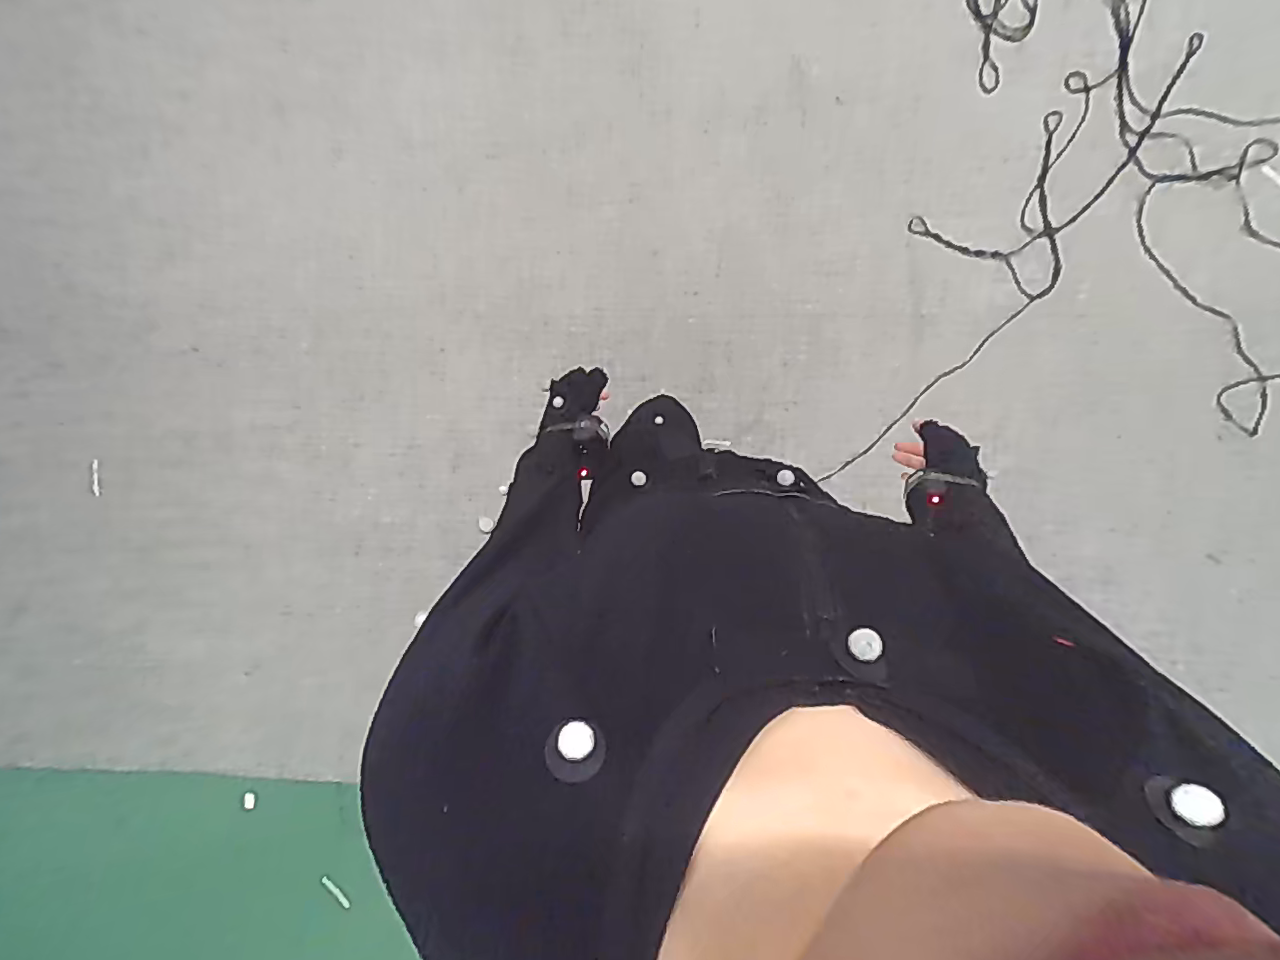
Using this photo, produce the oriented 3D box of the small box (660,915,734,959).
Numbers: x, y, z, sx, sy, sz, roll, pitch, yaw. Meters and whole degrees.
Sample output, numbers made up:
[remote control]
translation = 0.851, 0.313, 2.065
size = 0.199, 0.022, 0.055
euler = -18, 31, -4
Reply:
[small box]
translation = 0.132, 1.178, 1.268
size = 0.168, 0.176, 0.179
euler = 5, 94, 2
